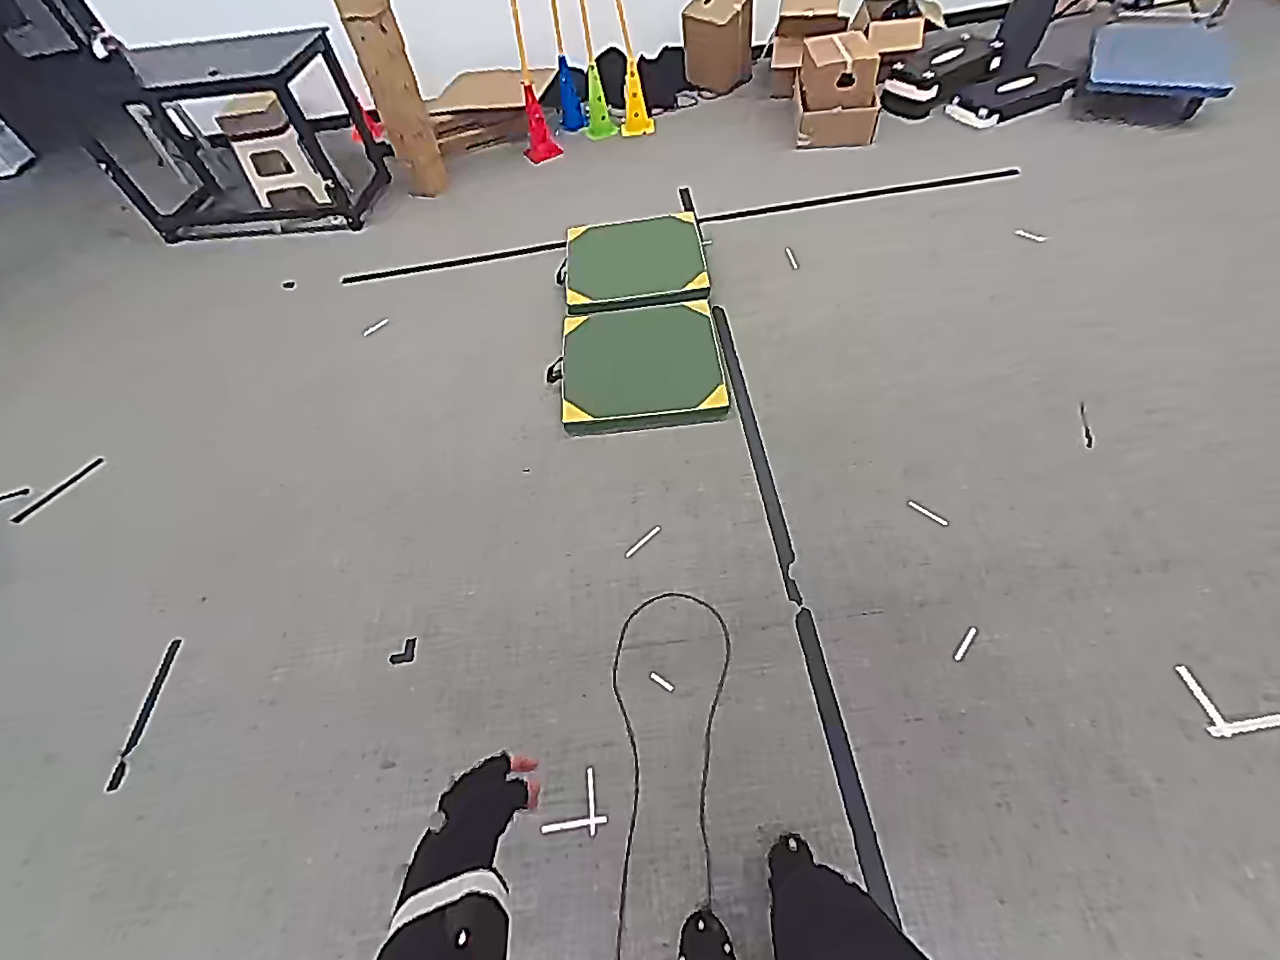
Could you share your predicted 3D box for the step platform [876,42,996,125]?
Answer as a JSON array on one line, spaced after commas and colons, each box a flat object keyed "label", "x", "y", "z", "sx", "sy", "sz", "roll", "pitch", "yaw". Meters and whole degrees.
[{"label": "step platform", "x": 1.704, "y": -2.290, "z": 3.111, "sx": 0.684, "sy": 0.204, "sz": 0.286, "roll": -32, "pitch": 57, "yaw": -15}]
